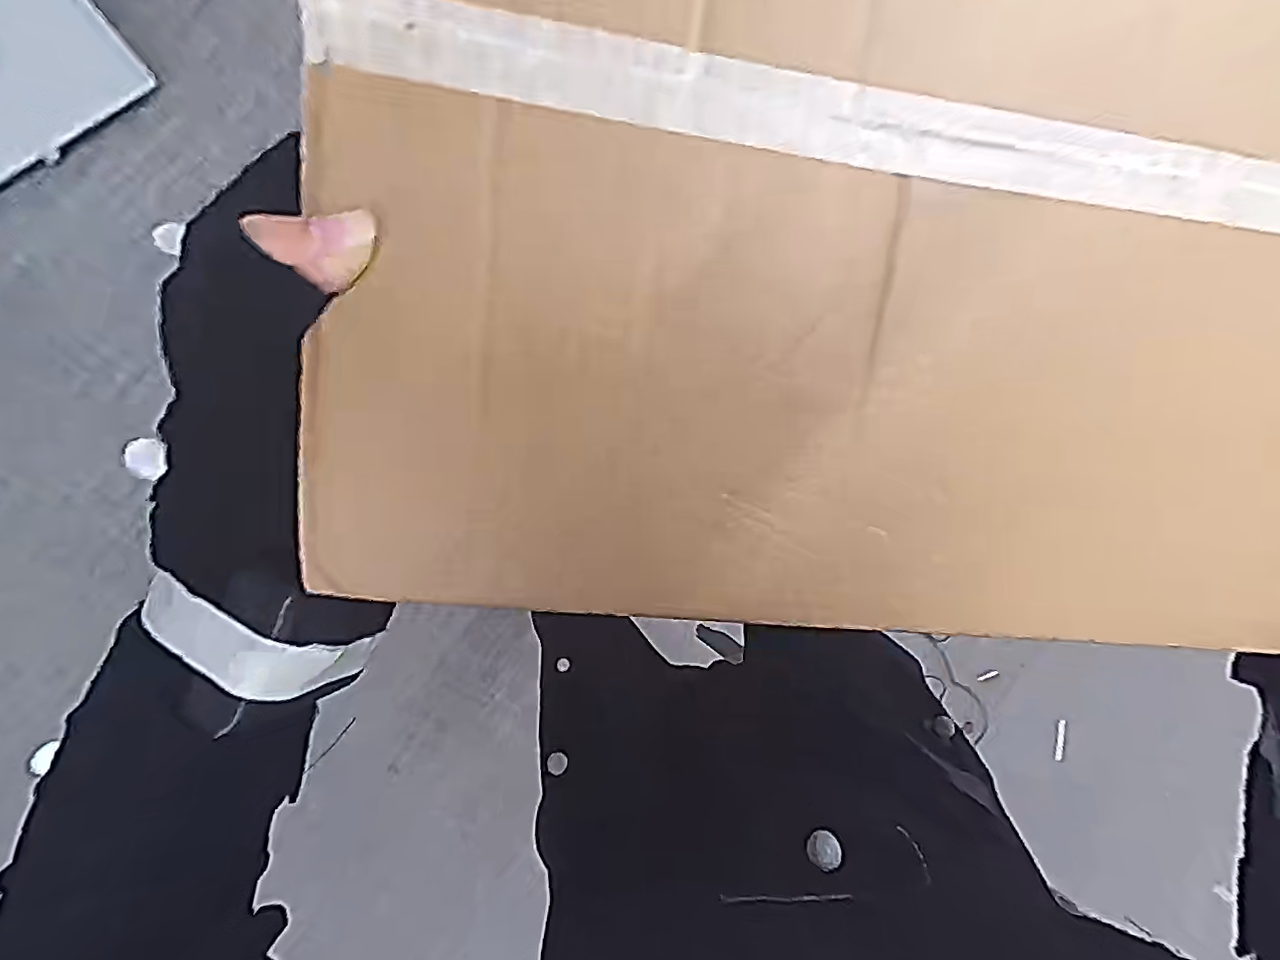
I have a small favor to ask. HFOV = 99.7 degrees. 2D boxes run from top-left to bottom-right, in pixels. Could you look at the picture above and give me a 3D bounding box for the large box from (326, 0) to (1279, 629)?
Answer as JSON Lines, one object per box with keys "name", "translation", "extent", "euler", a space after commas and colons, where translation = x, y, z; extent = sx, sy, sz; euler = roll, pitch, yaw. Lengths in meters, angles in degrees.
{"name": "large box", "translation": [0.092, -0.127, 0.324], "extent": [0.408, 0.320, 0.320], "euler": [4, 99, -7]}
